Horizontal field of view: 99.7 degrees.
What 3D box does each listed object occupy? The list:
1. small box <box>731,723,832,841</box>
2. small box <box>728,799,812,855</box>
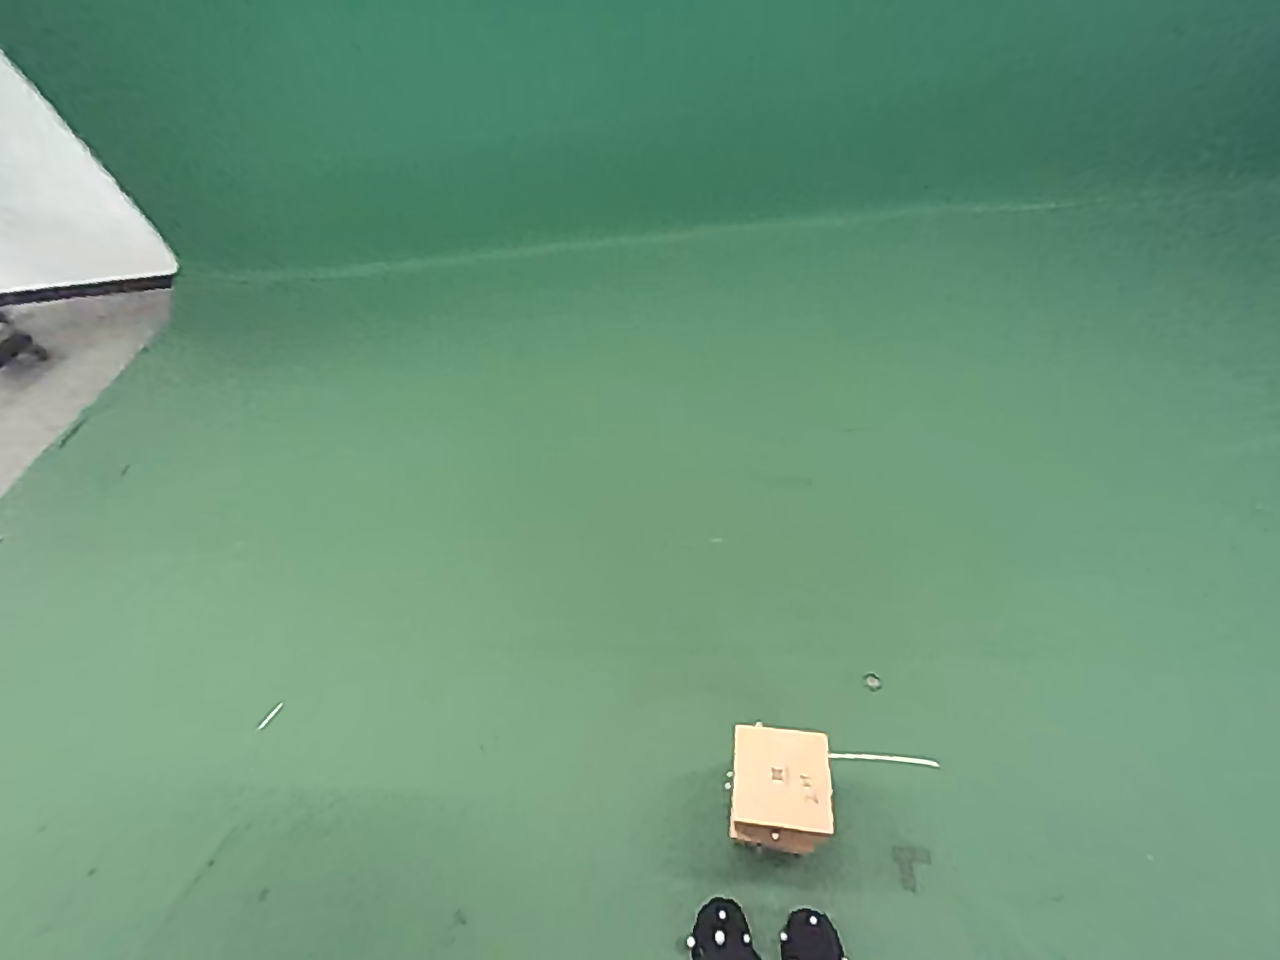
[{"bbox_3d":[0.271,0.594,1.059,0.179,0.176,0.168,2,53,11],"label":"small box"},{"bbox_3d":[0.285,0.702,1.183,0.168,0.176,0.179,2,53,12],"label":"small box"}]
